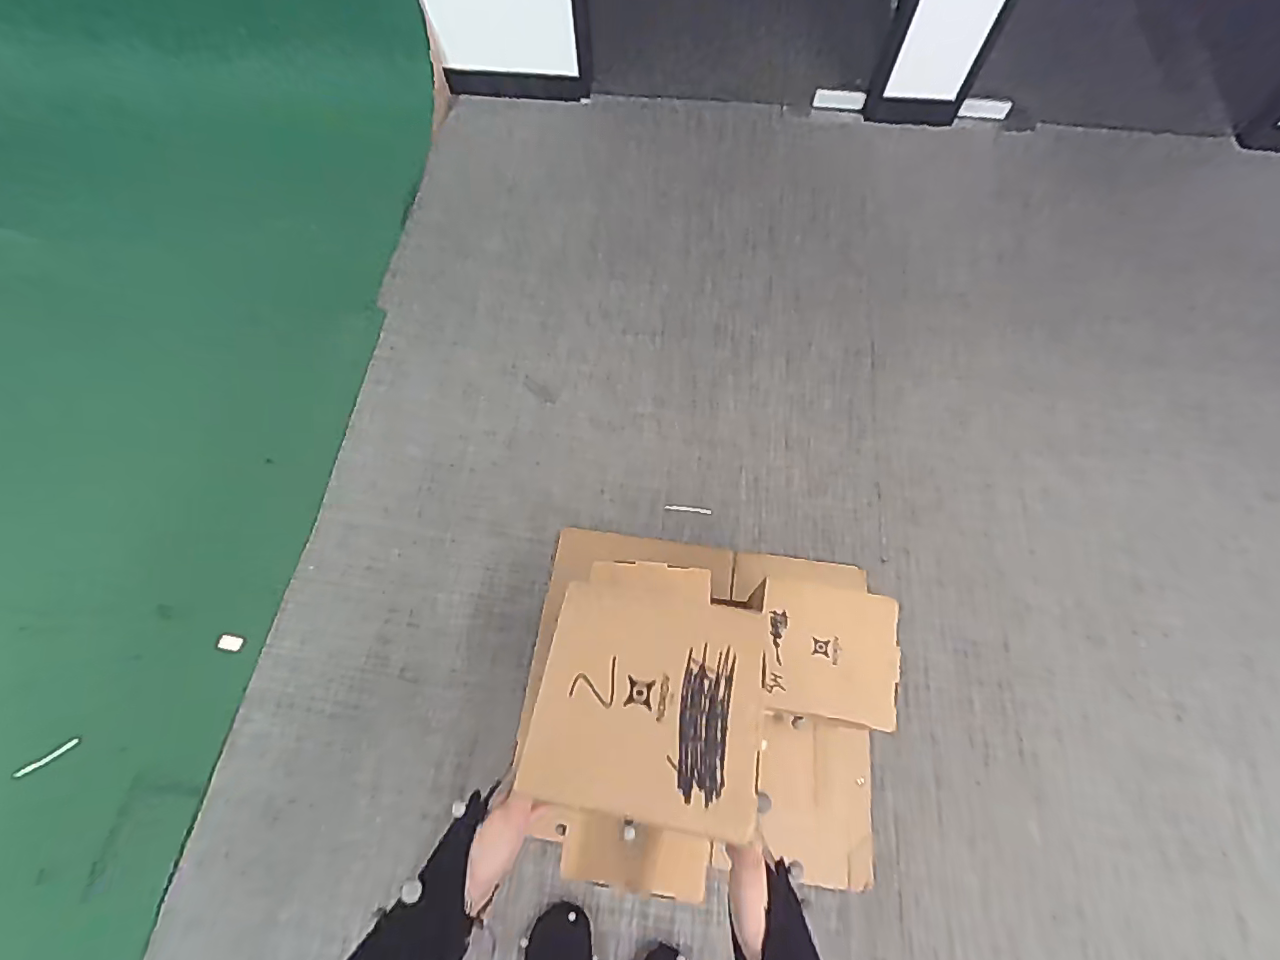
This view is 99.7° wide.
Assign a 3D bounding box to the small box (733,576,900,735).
[{"bbox_3d":[0.239,0.246,0.761,0.179,0.176,0.168,11,68,5],"label":"small box"}]

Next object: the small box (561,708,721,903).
[{"bbox_3d":[0.003,0.401,0.701,0.168,0.176,0.179,8,70,3],"label":"small box"}]
